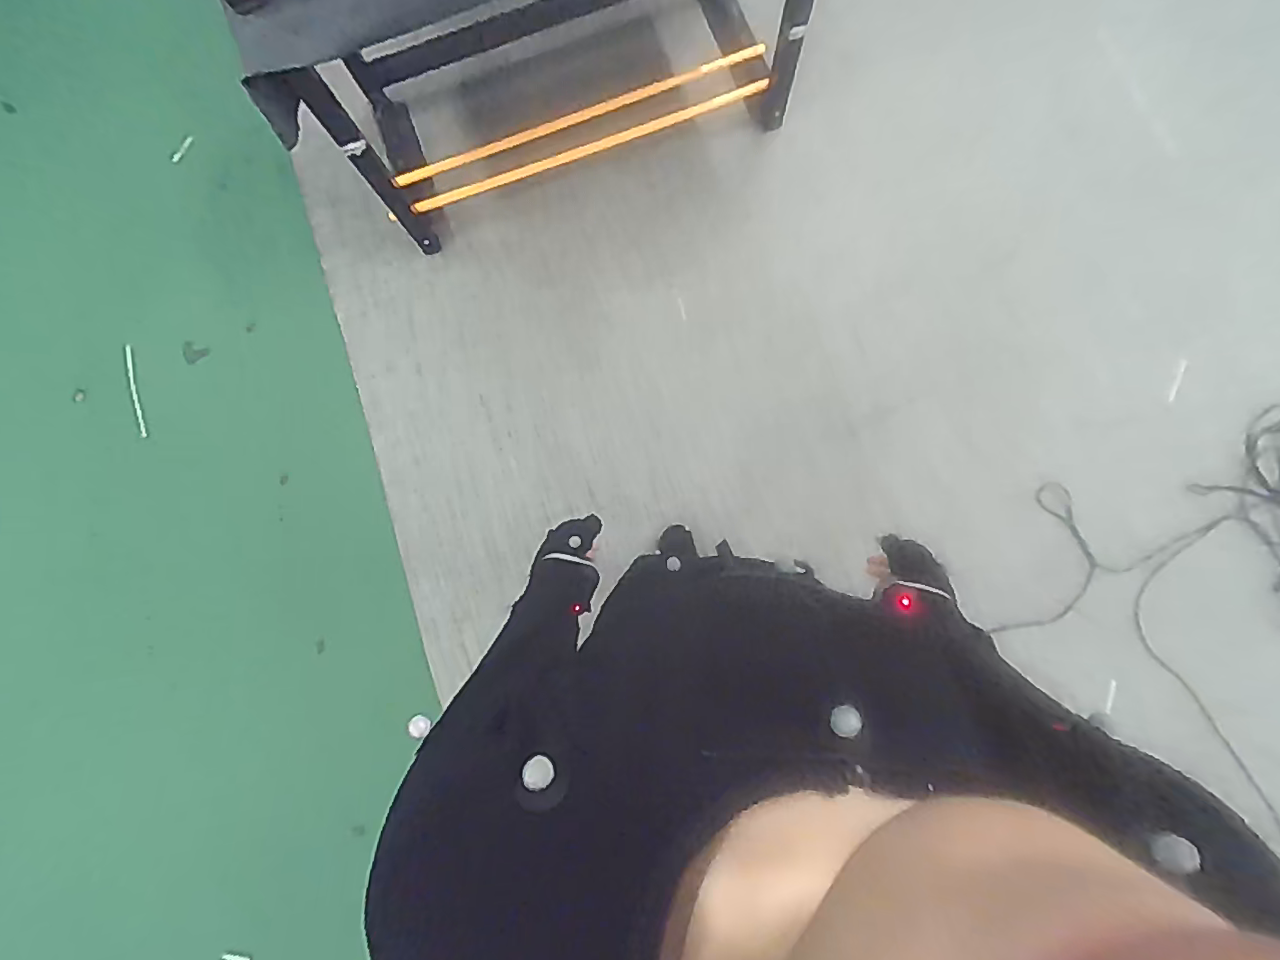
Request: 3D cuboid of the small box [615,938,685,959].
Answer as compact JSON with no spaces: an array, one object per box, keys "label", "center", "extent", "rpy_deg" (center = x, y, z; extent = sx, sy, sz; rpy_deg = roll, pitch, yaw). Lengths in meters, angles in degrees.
[{"label":"small box","center":[0.033,1.210,1.246],"extent":[0.168,0.176,0.179],"rpy_deg":[-18,81,0]}]
